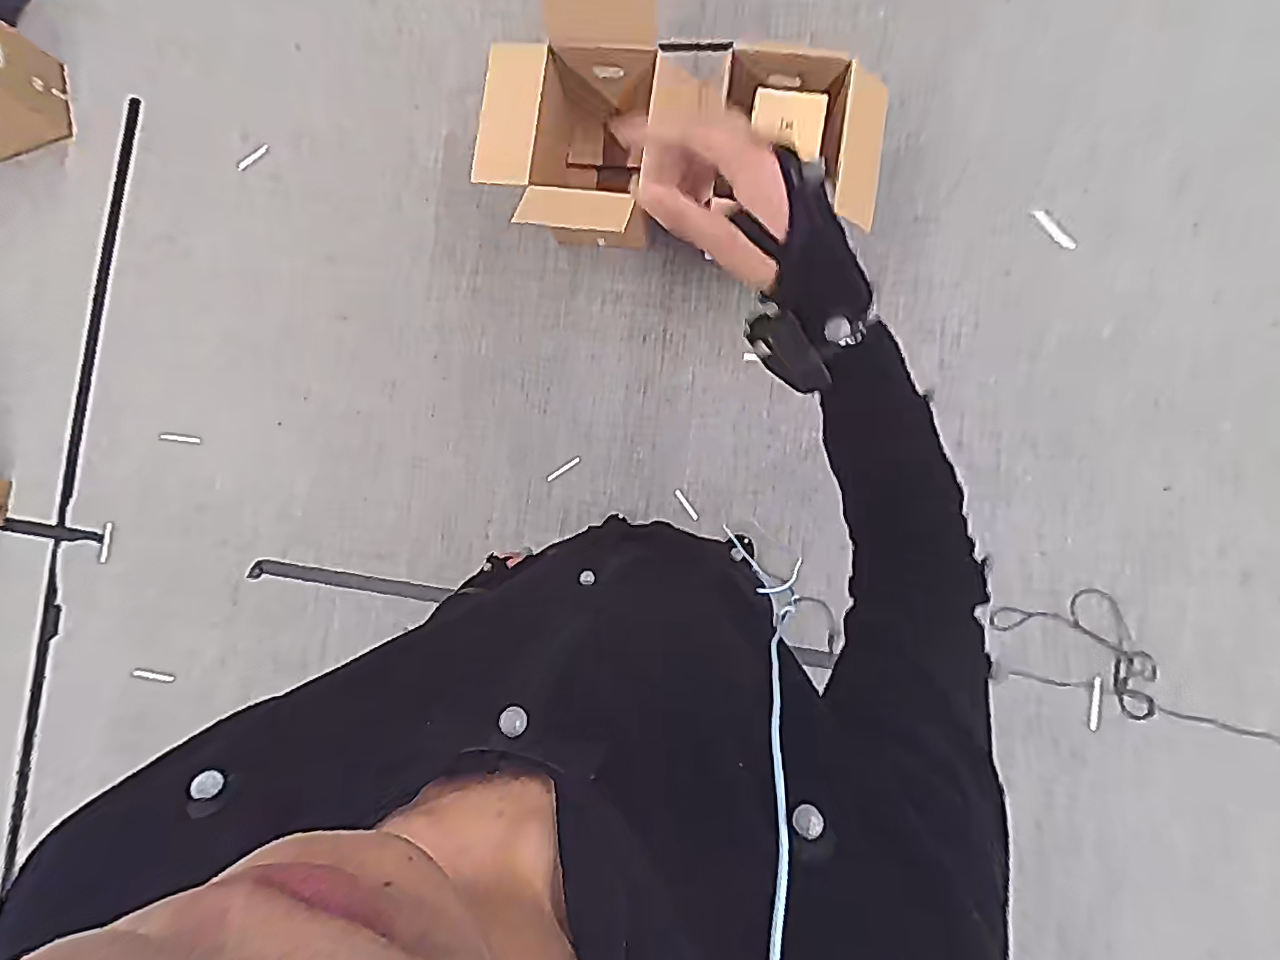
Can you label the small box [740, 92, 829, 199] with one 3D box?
[{"bbox_3d":[0.365,-0.852,1.394,0.179,0.176,0.168,9,89,5],"label":"small box"}]
